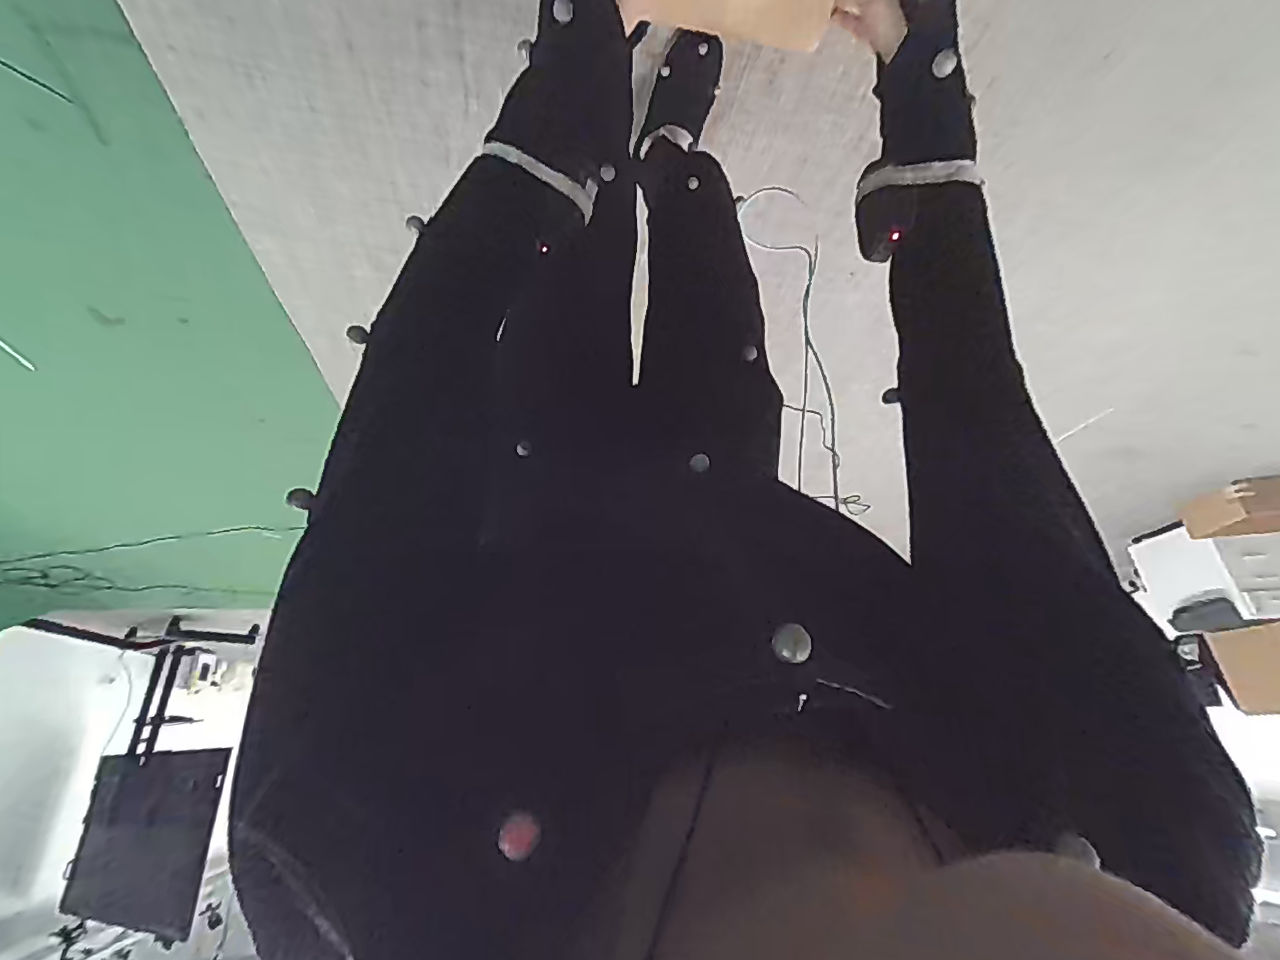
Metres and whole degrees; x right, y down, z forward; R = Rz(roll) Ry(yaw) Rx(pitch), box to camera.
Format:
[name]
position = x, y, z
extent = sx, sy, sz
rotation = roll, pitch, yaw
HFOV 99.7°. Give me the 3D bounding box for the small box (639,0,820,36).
[small box]
position = 0.076, -0.508, 0.431
extent = 0.179, 0.176, 0.168
rotation = 3, 153, -11
